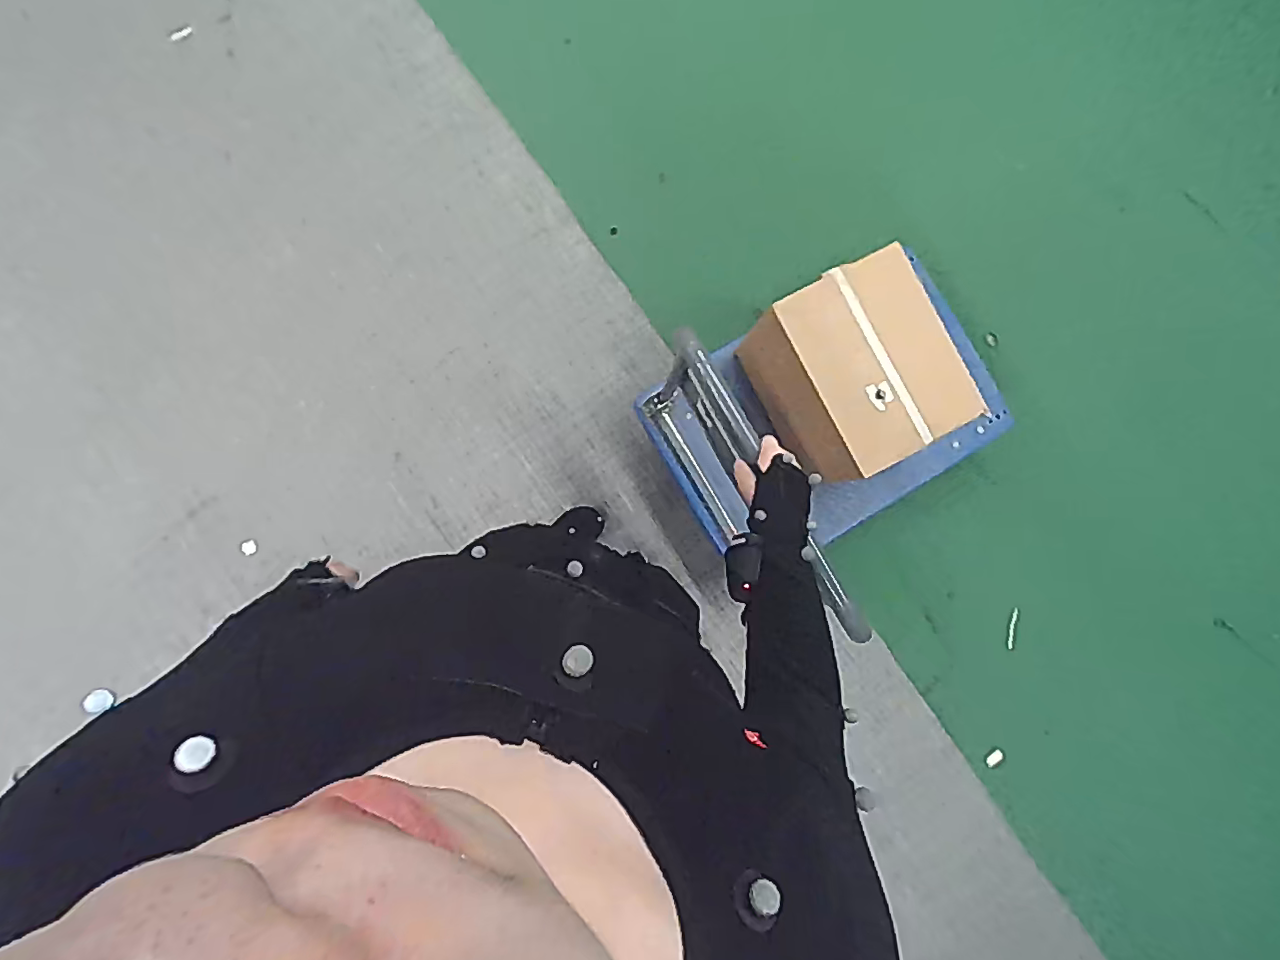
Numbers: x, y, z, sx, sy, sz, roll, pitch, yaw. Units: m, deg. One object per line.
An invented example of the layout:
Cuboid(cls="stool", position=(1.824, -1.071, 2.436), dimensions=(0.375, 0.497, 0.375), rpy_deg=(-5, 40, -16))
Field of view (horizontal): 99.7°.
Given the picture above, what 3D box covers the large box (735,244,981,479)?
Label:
Cuboid(cls="large box", position=(0.480, -0.251, 1.273), dimensions=(0.320, 0.320, 0.408), rpy_deg=(-28, 89, -6))
